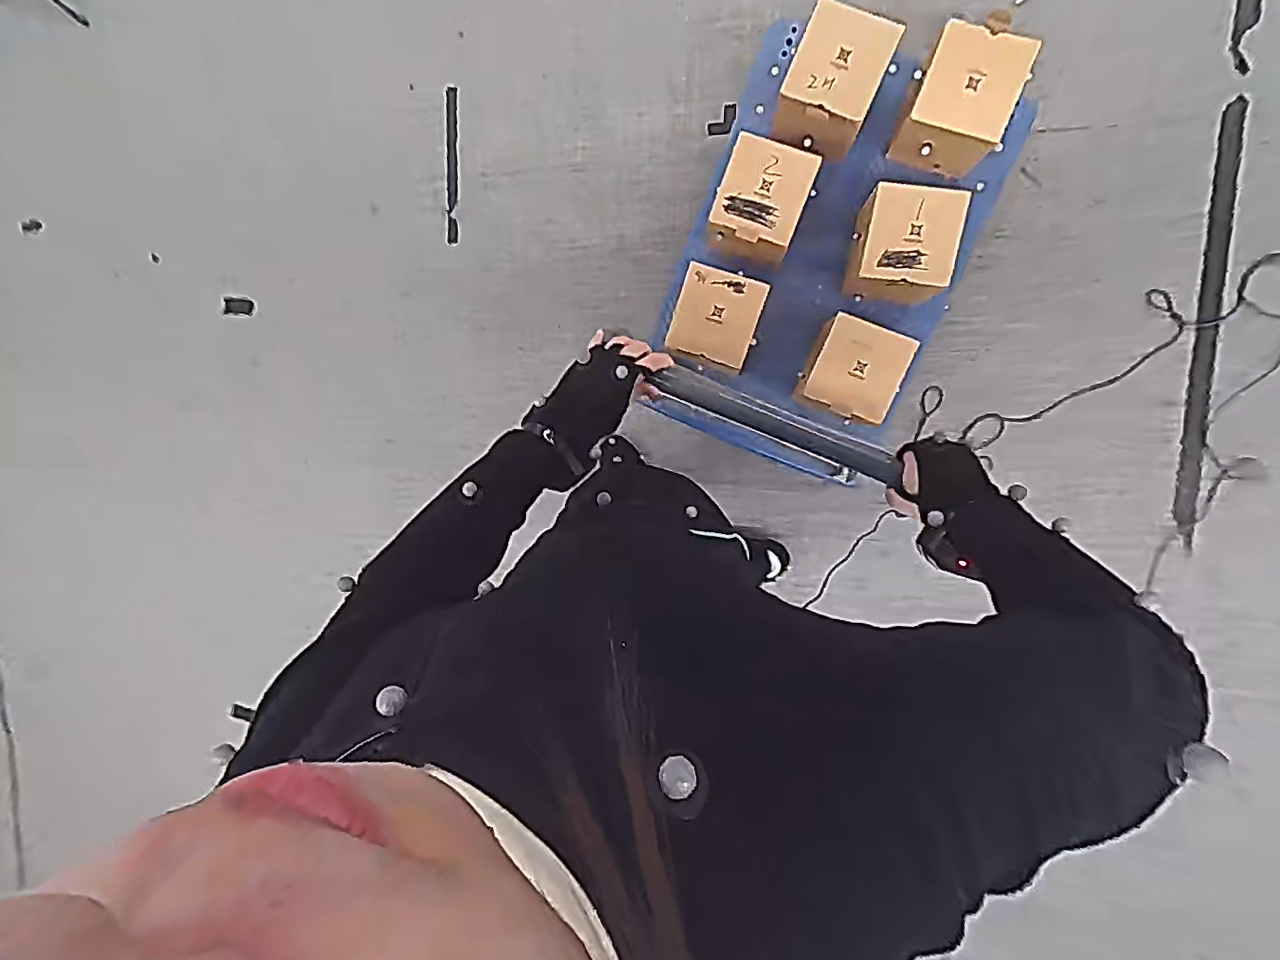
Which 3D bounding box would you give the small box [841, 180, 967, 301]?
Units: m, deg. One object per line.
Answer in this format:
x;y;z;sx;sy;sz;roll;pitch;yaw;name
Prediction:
0.519;-0.472;1.092;0.168;0.176;0.179;11;98;7;small box

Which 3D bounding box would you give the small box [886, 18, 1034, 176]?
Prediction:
0.603;-0.728;1.049;0.168;0.176;0.179;20;99;6;small box

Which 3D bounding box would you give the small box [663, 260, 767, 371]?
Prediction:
0.160;-0.342;1.159;0.168;0.176;0.179;20;100;4;small box

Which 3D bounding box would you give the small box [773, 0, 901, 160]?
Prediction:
0.376;-0.782;1.072;0.168;0.176;0.179;24;100;5;small box

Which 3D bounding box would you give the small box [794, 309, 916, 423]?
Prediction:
0.437;-0.231;1.135;0.168;0.176;0.179;23;99;4;small box
